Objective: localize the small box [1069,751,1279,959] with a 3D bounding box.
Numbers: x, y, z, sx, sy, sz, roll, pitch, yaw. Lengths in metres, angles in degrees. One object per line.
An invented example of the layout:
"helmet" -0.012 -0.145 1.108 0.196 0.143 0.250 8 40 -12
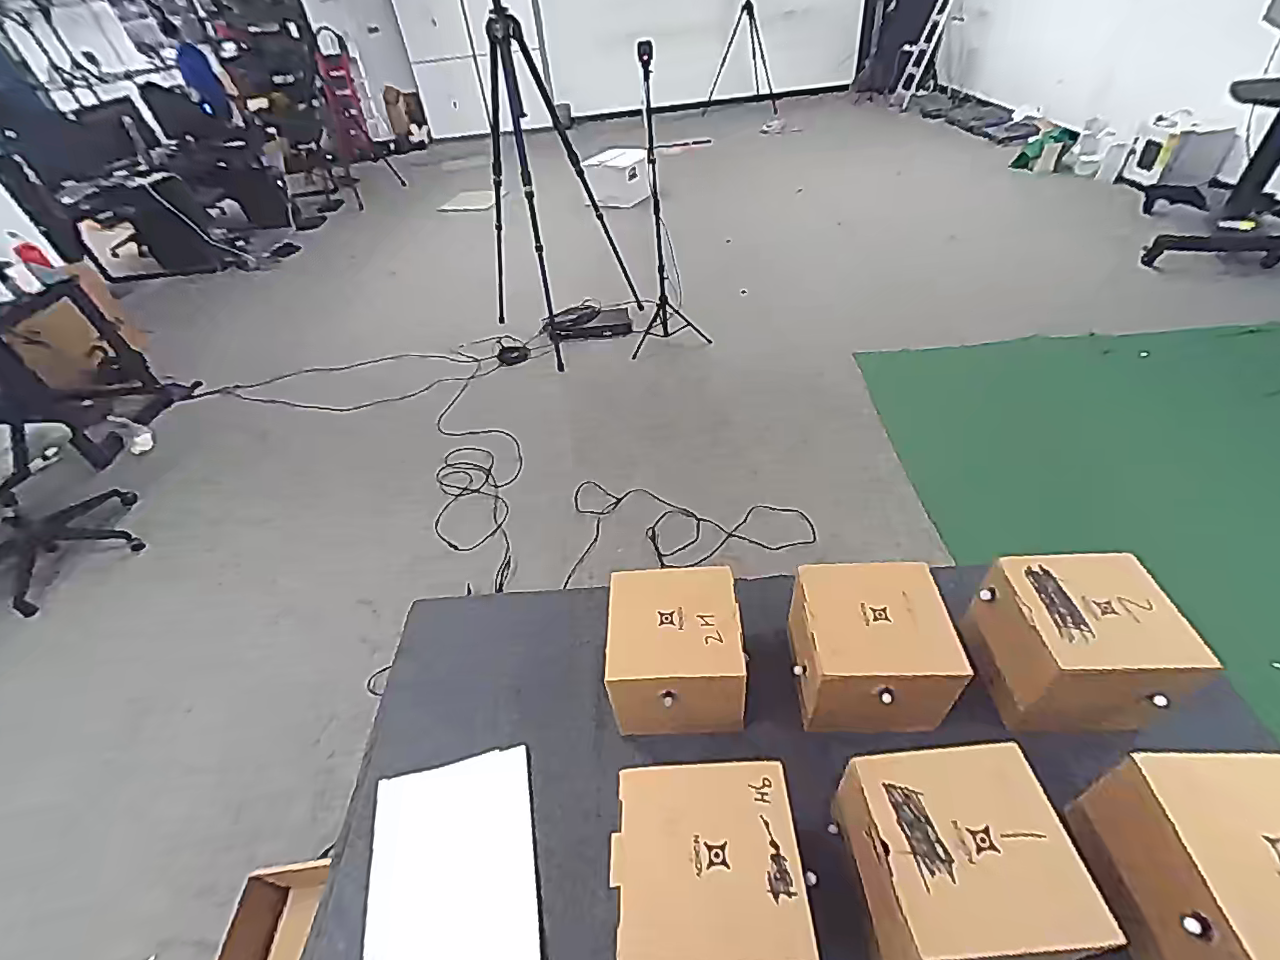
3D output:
"small box" 0.577 0.390 0.529 0.168 0.176 0.179 -2 42 5

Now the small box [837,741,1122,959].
"small box" 0.316 0.393 0.557 0.179 0.176 0.168 -6 42 1
